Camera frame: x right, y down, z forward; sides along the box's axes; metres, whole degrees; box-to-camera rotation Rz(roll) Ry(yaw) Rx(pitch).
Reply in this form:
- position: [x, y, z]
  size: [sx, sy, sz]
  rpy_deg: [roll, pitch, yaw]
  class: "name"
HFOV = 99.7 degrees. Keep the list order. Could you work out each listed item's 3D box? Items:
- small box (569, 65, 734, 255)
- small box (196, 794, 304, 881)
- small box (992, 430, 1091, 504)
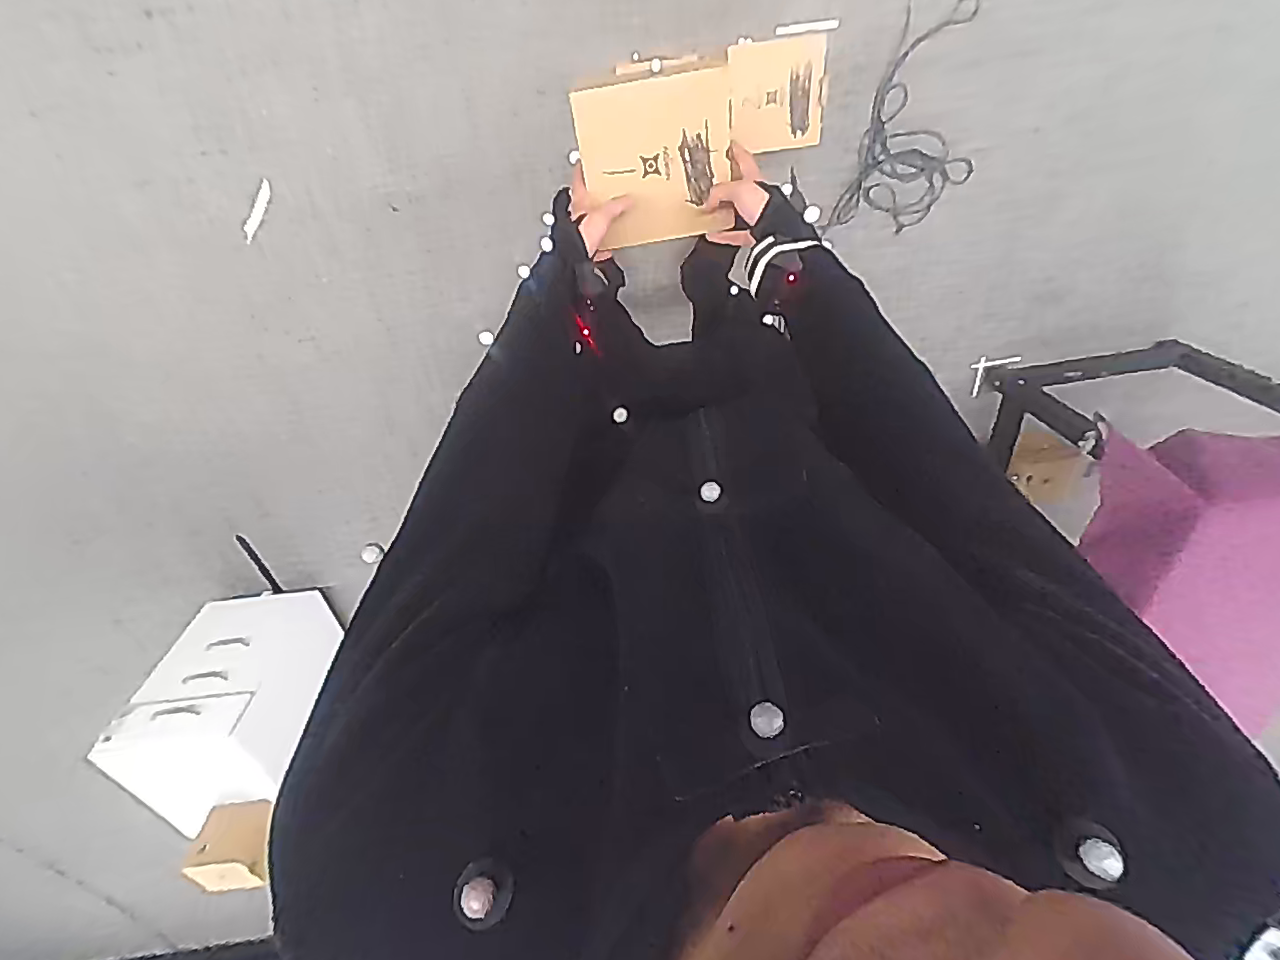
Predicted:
- position: [0.013, -0.404, 0.677]
  size: [0.179, 0.176, 0.168]
  rpy_deg: [-9, 129, 3]
  class: "small box"
- position: [-1.178, 1.088, 1.650]
  size: [0.179, 0.176, 0.168]
  rpy_deg: [-7, 125, 2]
  class: "small box"
- position: [1.305, -0.049, 1.770]
  size: [0.179, 0.176, 0.168]
  rpy_deg: [-10, 124, 1]
  class: "small box"
